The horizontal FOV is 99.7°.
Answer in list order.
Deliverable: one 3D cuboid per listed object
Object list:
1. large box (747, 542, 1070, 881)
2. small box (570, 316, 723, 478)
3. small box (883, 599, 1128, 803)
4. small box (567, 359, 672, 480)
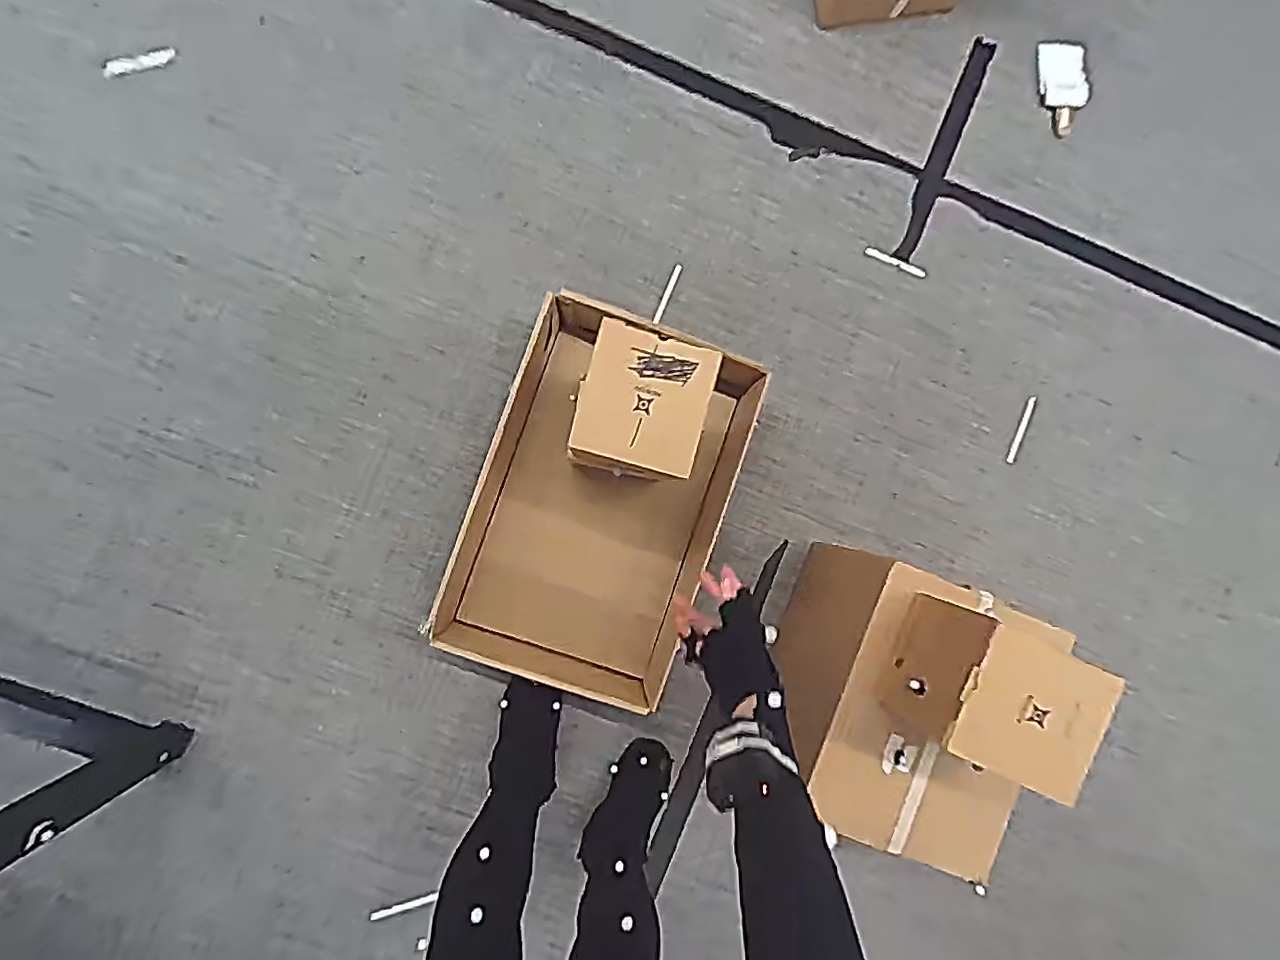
[{"bbox_3d":[0.431,0.359,0.947,0.320,0.320,0.408,22,88,-3],"label":"large box"},{"bbox_3d":[0.002,-0.107,0.776,0.168,0.176,0.179,16,89,-4],"label":"small box"},{"bbox_3d":[0.457,0.269,0.707,0.179,0.176,0.168,25,89,-3],"label":"small box"},{"bbox_3d":[-0.023,-0.097,0.939,0.179,0.176,0.168,11,89,-5],"label":"small box"}]
